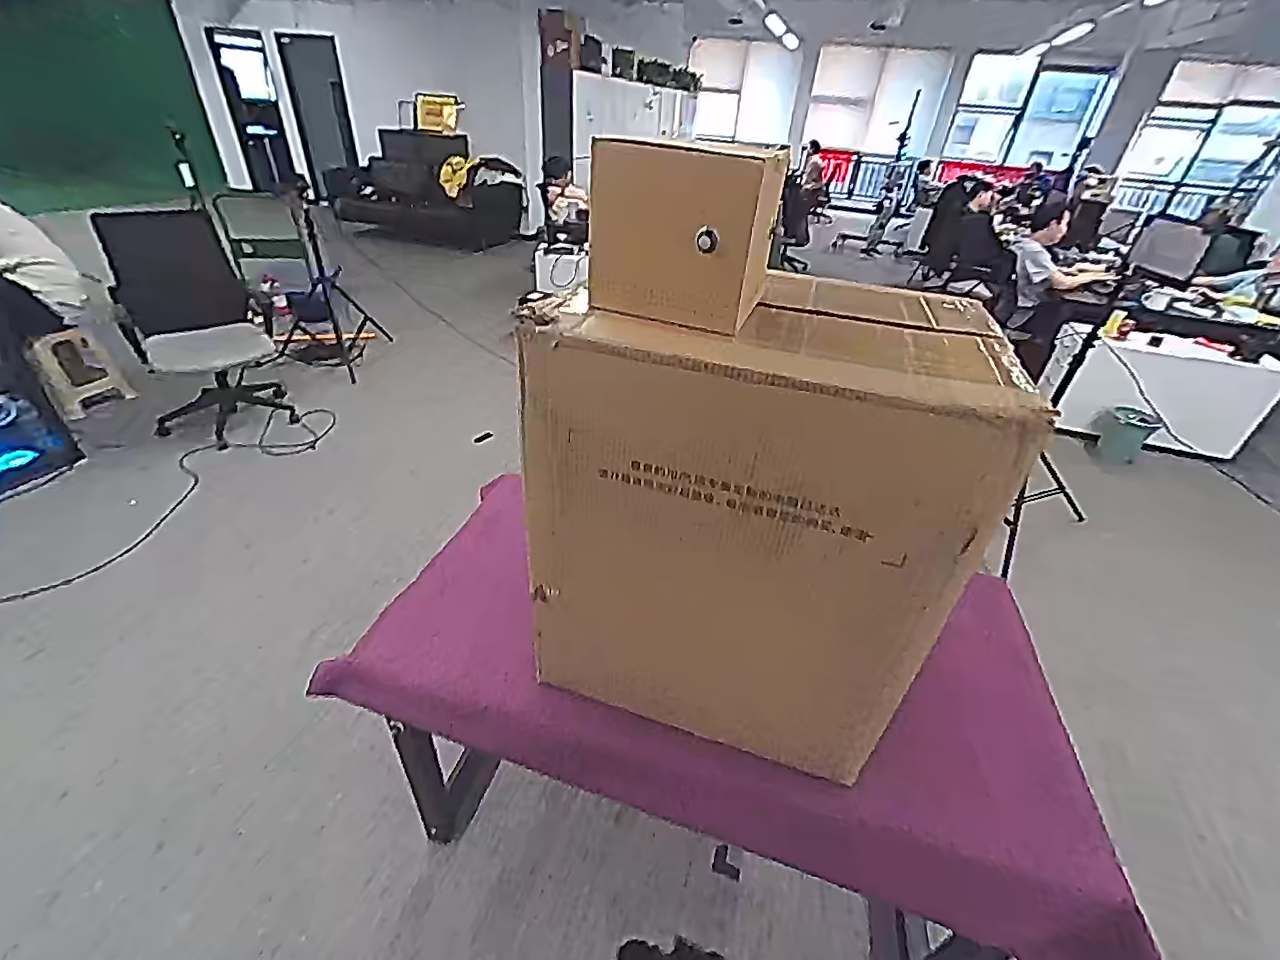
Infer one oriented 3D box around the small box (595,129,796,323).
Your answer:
[{"bbox_3d":[0.060,-0.286,0.608,0.179,0.176,0.168,15,35,14],"label":"small box"}]
